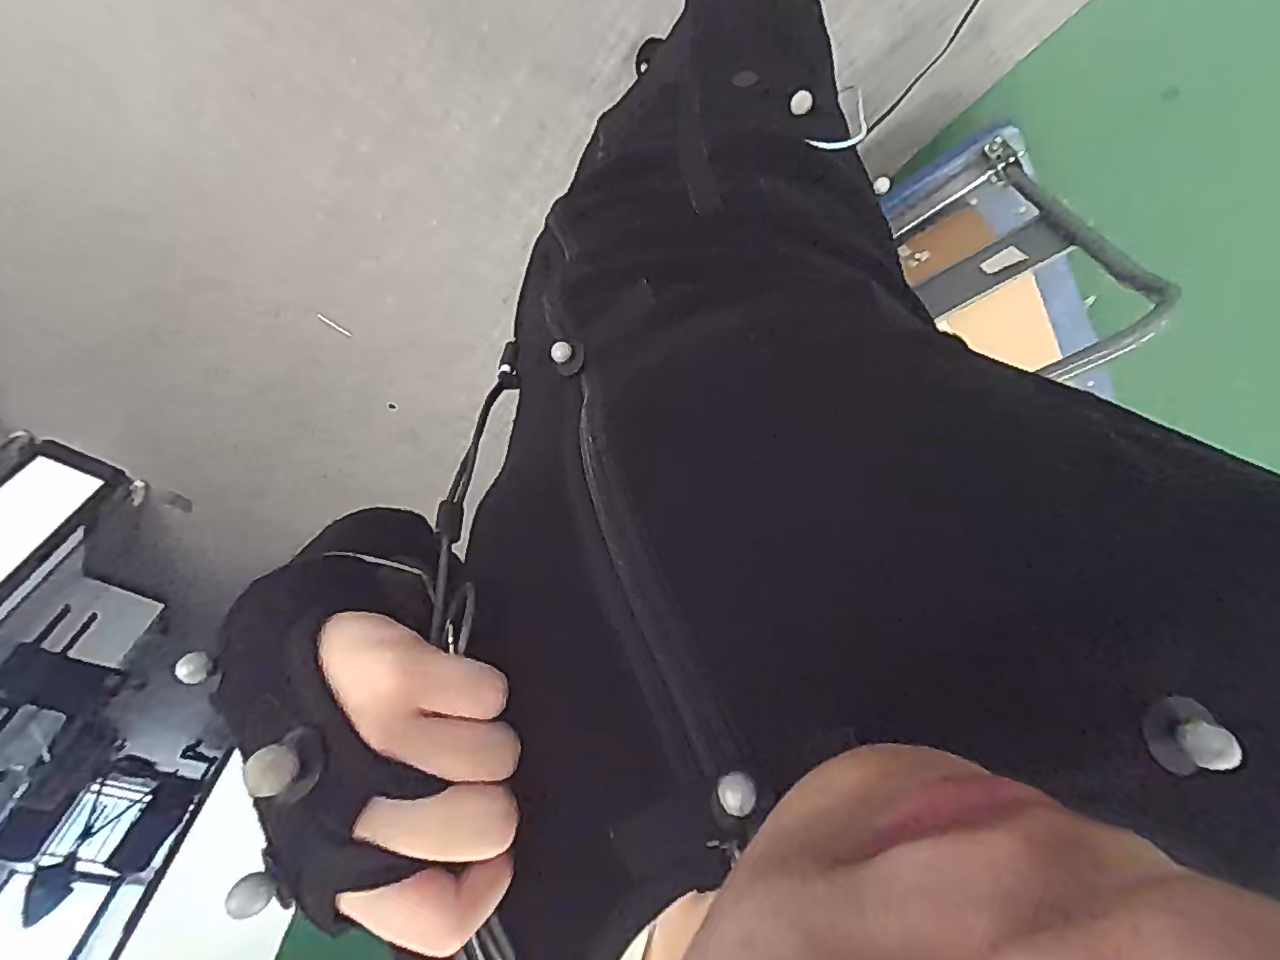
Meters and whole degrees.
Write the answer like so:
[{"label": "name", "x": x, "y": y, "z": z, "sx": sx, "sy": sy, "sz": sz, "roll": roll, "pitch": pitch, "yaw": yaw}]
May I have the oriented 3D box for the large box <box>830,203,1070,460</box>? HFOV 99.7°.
[{"label": "large box", "x": 0.690, "y": -0.325, "z": 1.235, "sx": 0.320, "sy": 0.320, "sz": 0.408, "roll": -27, "pitch": 128, "yaw": 31}]
